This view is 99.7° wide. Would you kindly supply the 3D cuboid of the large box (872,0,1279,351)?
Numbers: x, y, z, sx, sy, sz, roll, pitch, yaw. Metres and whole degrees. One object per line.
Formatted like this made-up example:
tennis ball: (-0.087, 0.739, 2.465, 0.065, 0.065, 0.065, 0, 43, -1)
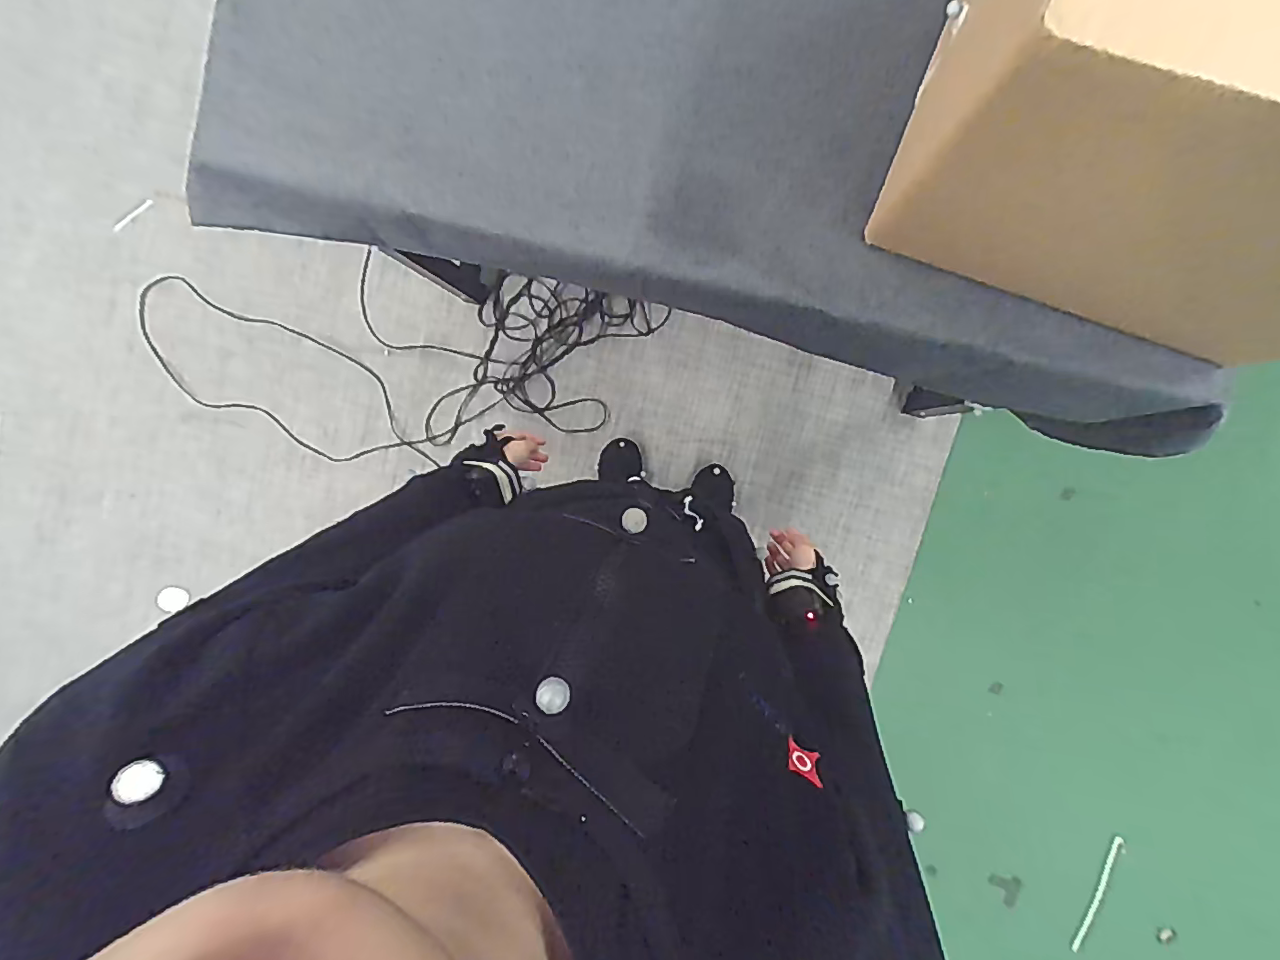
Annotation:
large box: (0.468, -0.330, 0.416, 0.408, 0.320, 0.320, 20, 96, 3)
